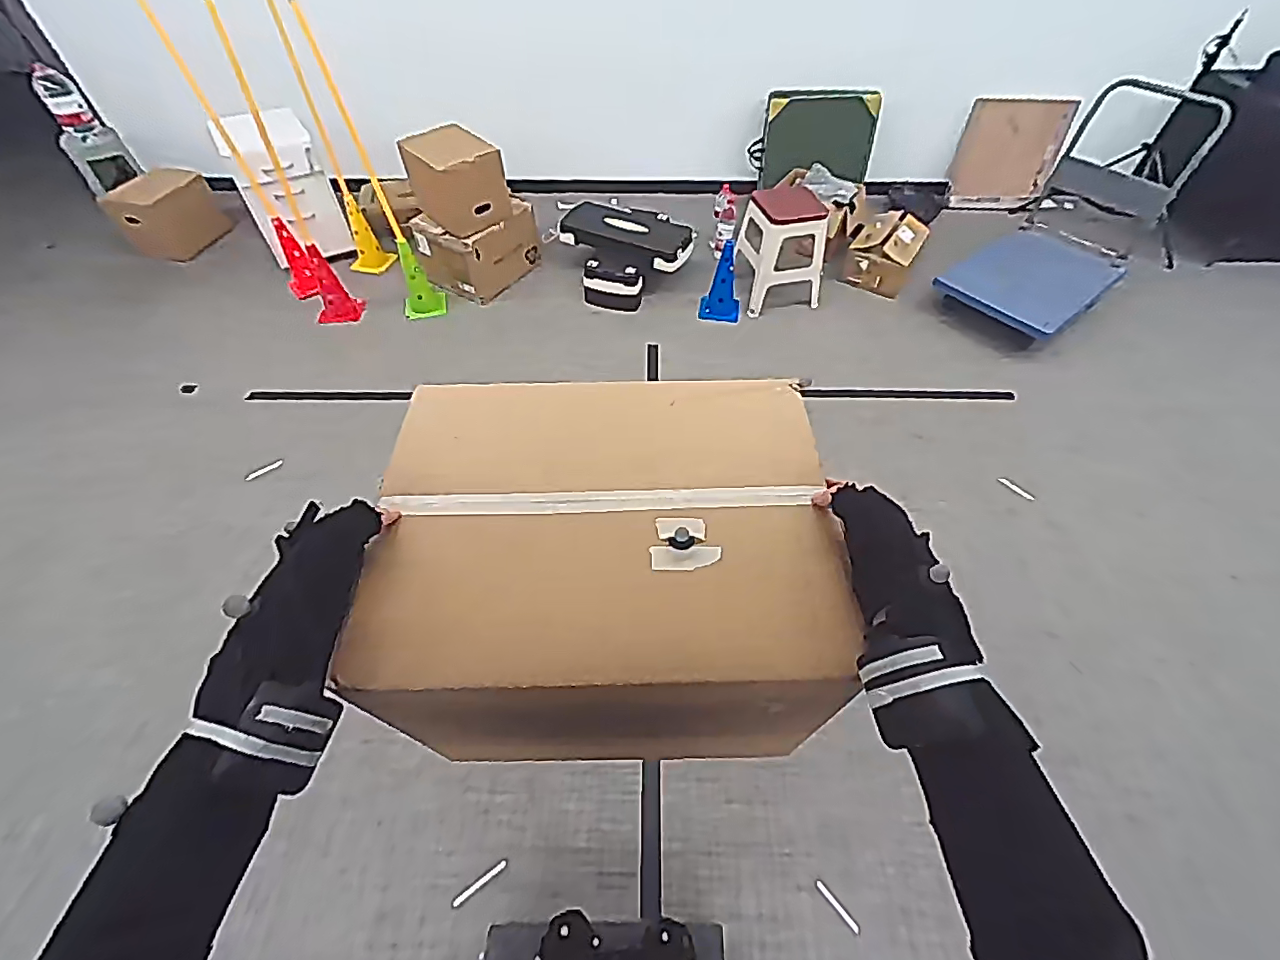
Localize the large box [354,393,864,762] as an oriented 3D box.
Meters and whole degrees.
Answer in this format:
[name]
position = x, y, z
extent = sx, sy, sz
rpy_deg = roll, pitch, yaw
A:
[large box]
position = -0.027, 0.120, 0.621
extent = 0.408, 0.320, 0.320
rpy_deg = -1, 54, 0
